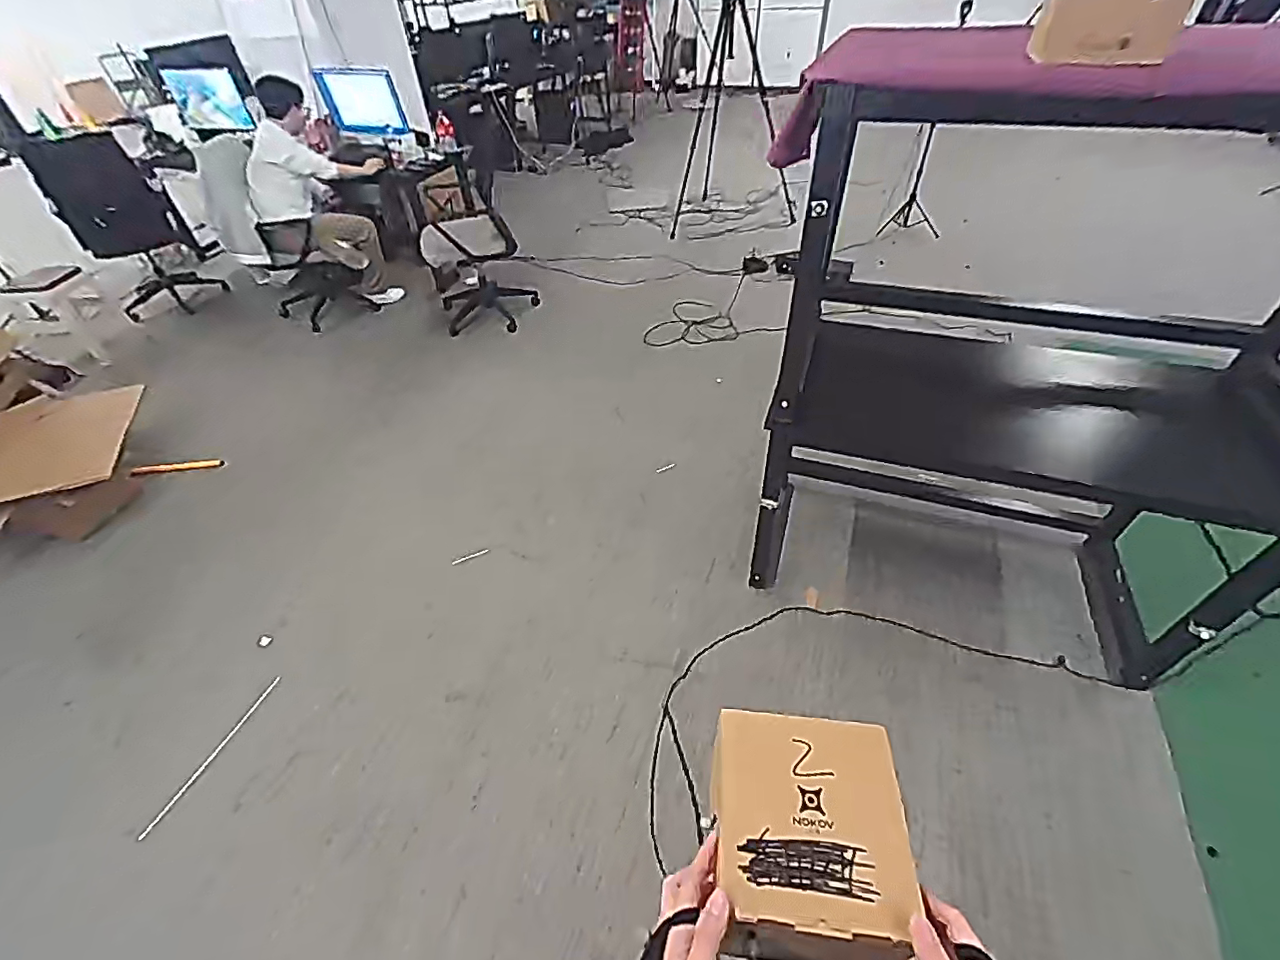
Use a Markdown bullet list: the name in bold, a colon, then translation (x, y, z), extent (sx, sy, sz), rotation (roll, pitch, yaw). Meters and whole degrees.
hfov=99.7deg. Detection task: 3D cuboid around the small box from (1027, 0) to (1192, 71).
- **small box**: translation (0.728, -0.740, 0.828), extent (0.168, 0.176, 0.179), rotation (15, 45, 17)
